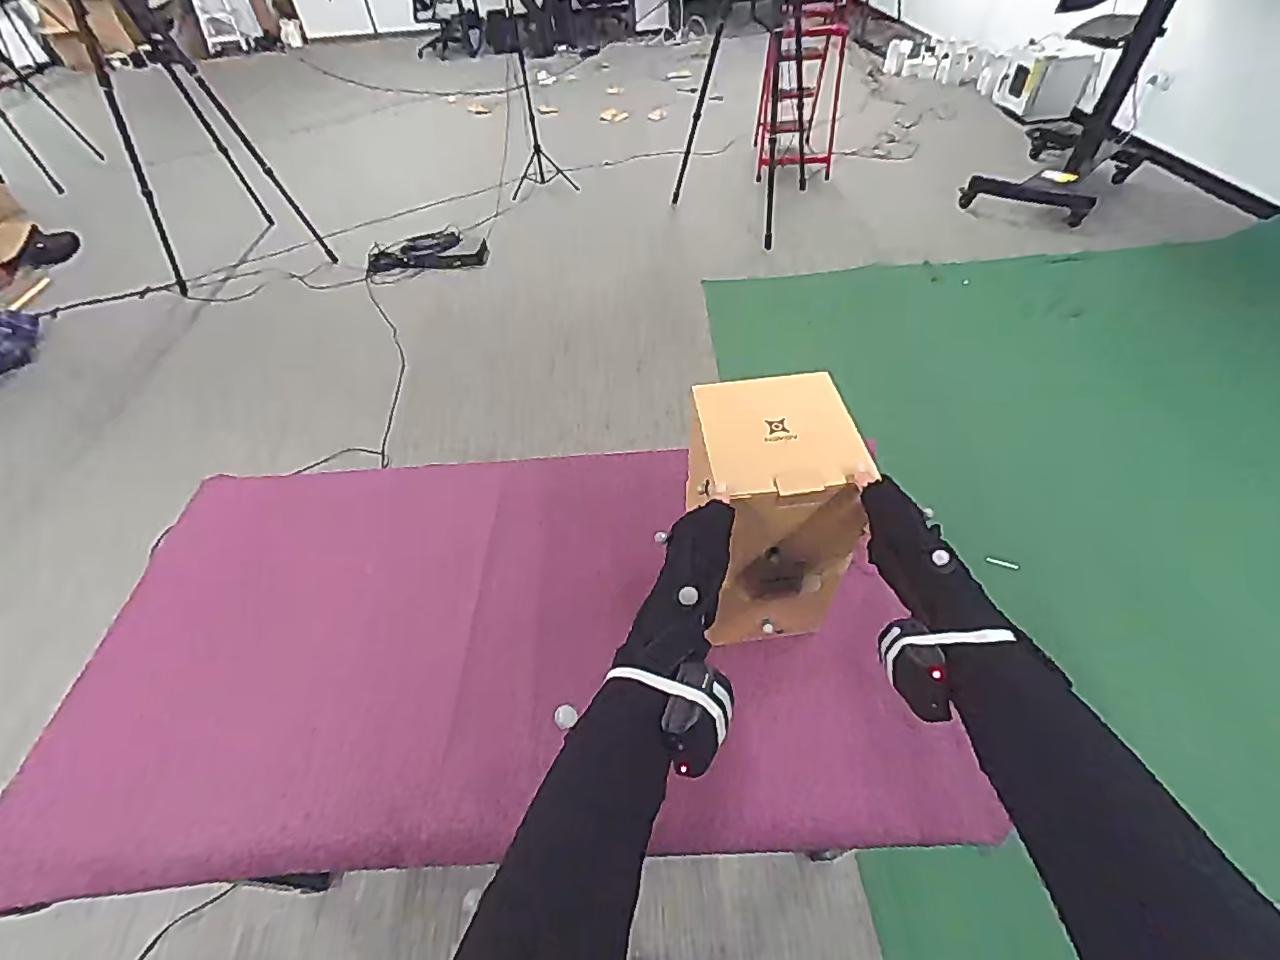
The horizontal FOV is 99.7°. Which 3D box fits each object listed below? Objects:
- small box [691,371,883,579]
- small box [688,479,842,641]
[{"bbox_3d":[0.154,-0.004,0.643,0.168,0.176,0.179,-6,51,-2],"label":"small box"},{"bbox_3d":[0.160,0.105,0.764,0.168,0.176,0.179,-7,50,-1],"label":"small box"}]
